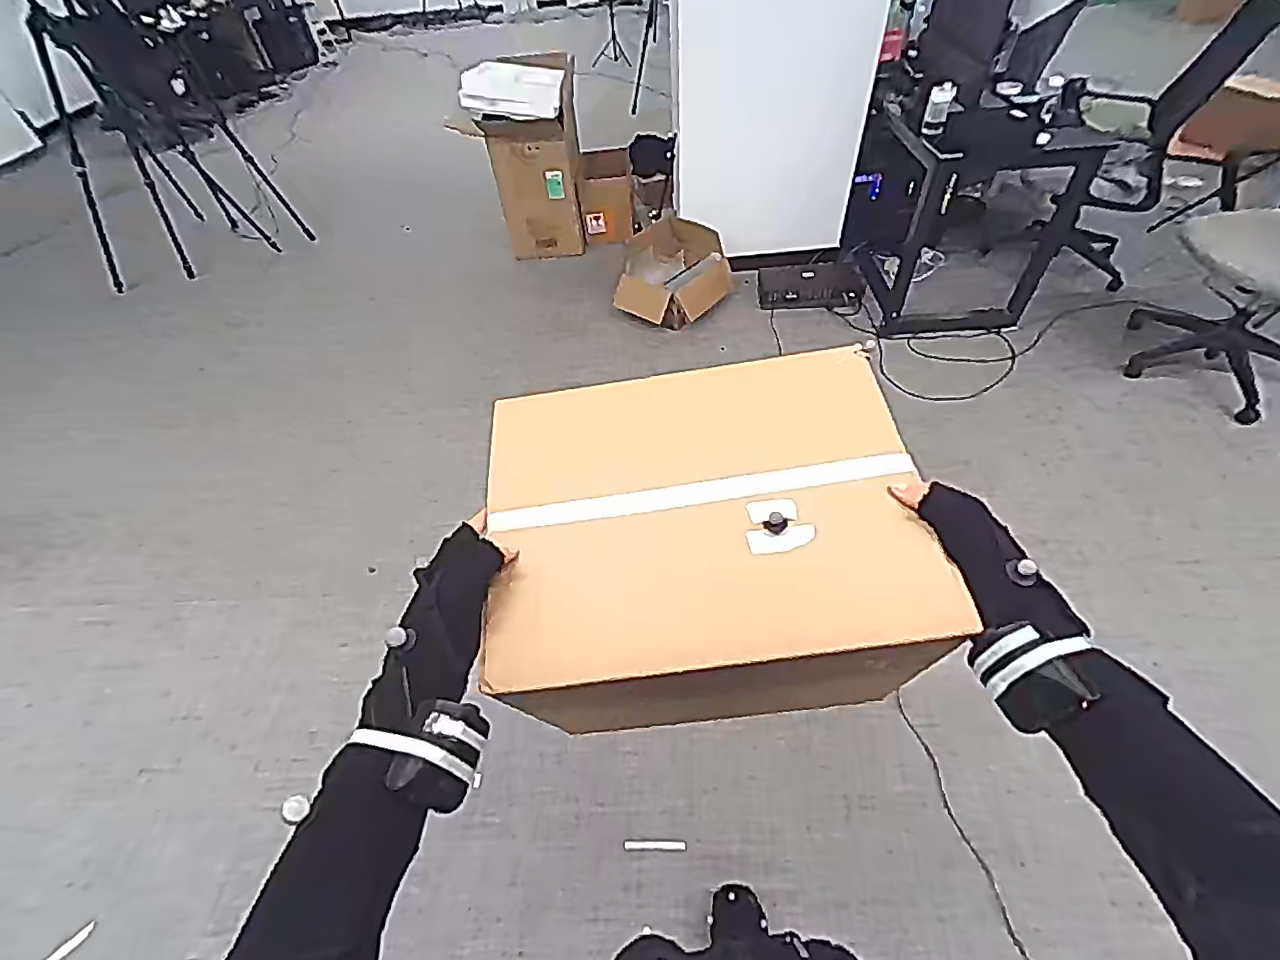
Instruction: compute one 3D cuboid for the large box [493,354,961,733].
[{"bbox_3d":[0.070,0.096,0.653,0.408,0.320,0.320,-8,58,3],"label":"large box"}]
